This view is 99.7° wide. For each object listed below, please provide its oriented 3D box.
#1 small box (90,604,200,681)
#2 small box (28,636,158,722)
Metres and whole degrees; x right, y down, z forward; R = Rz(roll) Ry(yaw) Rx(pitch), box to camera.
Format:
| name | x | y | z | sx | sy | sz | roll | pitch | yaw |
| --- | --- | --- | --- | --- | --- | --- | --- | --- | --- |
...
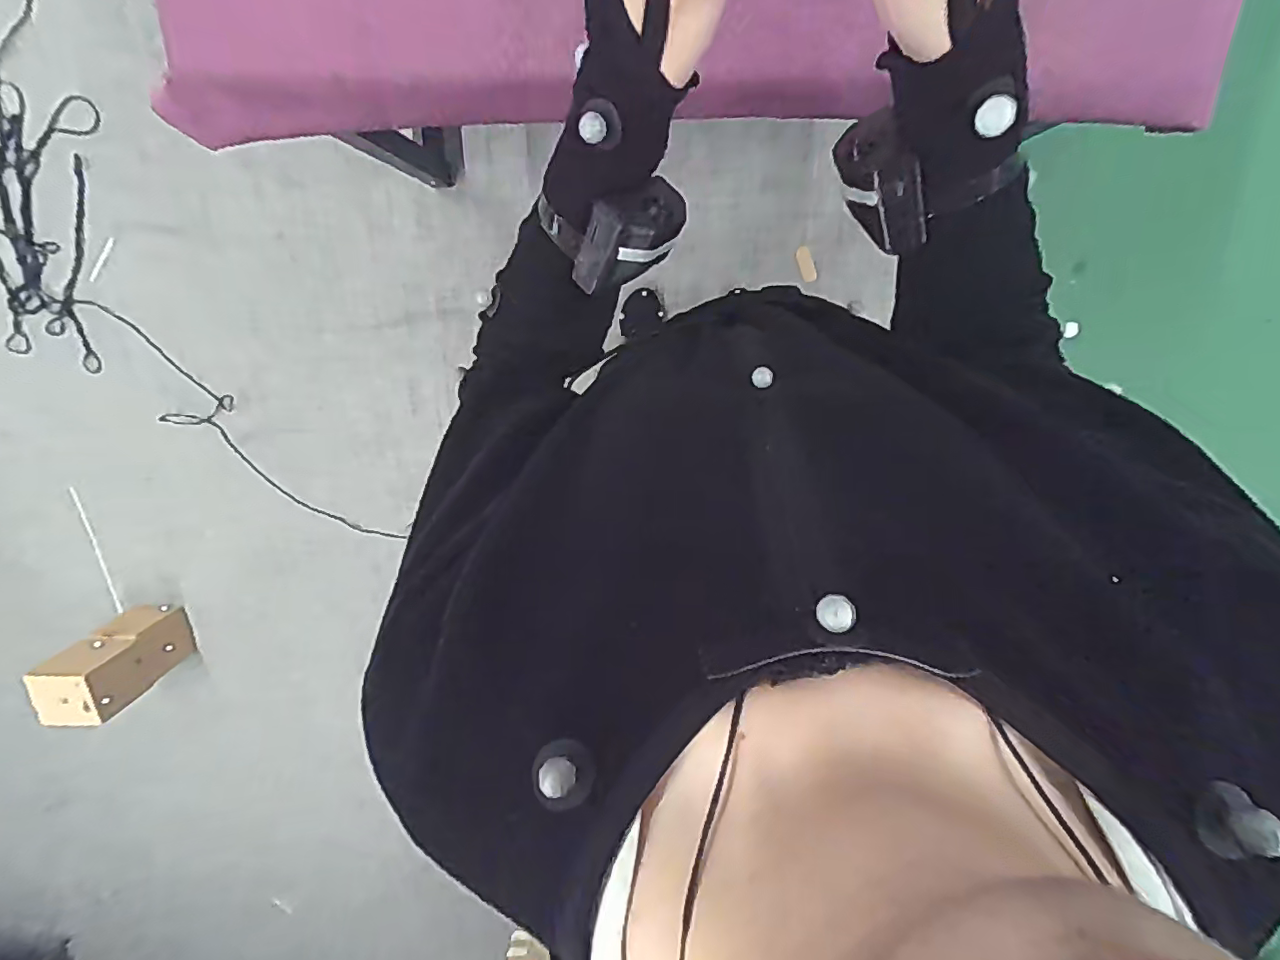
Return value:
| name | x | y | z | sx | sy | sz | roll | pitch | yaw |
| --- | --- | --- | --- | --- | --- | --- | --- | --- | --- |
| small box | -1.538 | 0.502 | 1.692 | 0.168 | 0.176 | 0.179 | 0 | 109 | 4 |
| small box | -1.545 | 0.560 | 1.539 | 0.179 | 0.176 | 0.168 | 1 | 109 | 4 |
